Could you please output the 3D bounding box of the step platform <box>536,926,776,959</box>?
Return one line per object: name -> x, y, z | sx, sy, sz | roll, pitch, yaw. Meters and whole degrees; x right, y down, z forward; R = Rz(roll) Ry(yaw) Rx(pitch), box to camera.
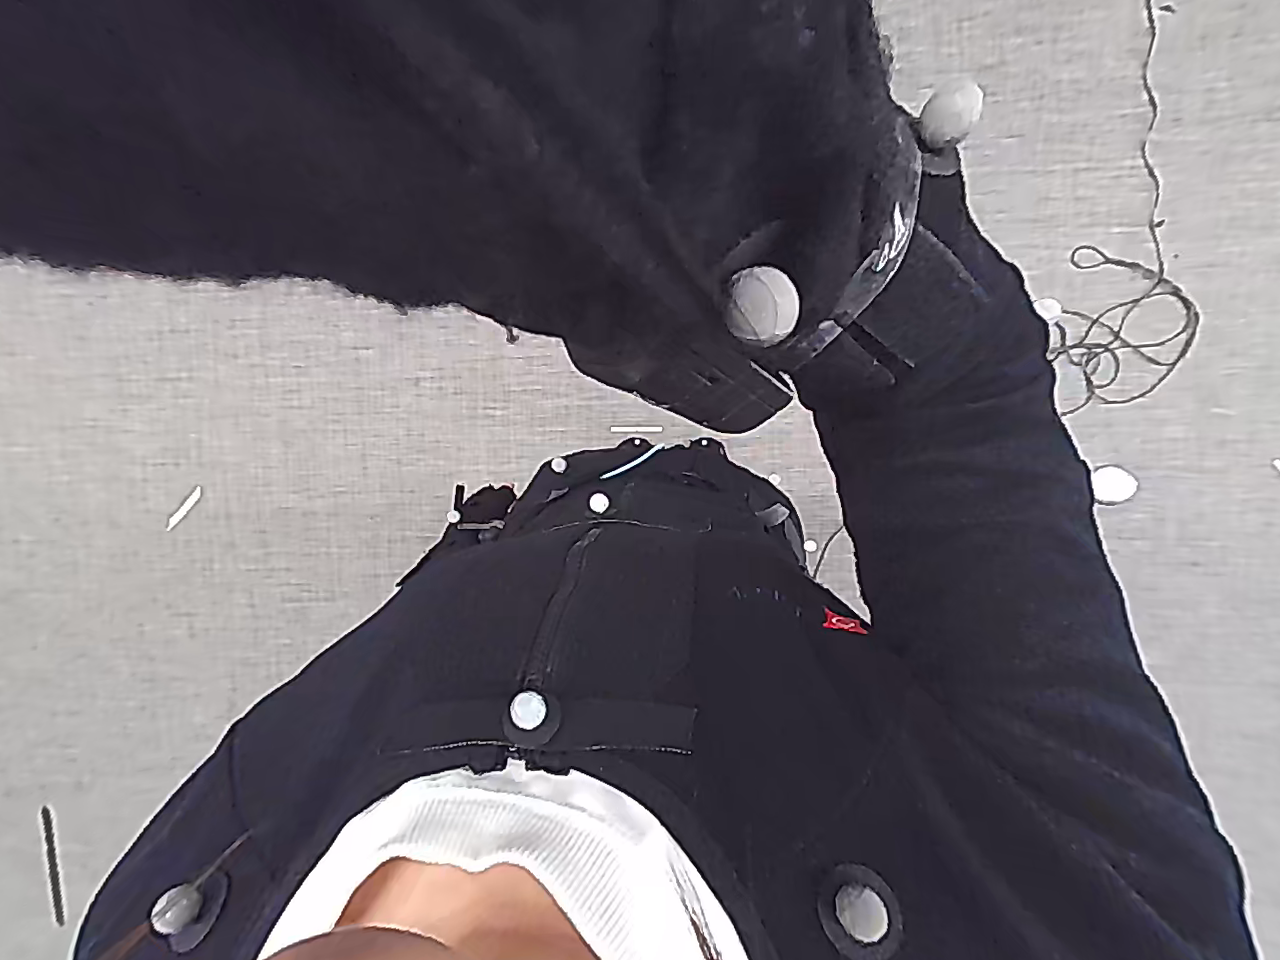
step platform -> 0.041, 1.435, 1.464 | 0.684, 0.204, 0.286 | -2, 94, 6
